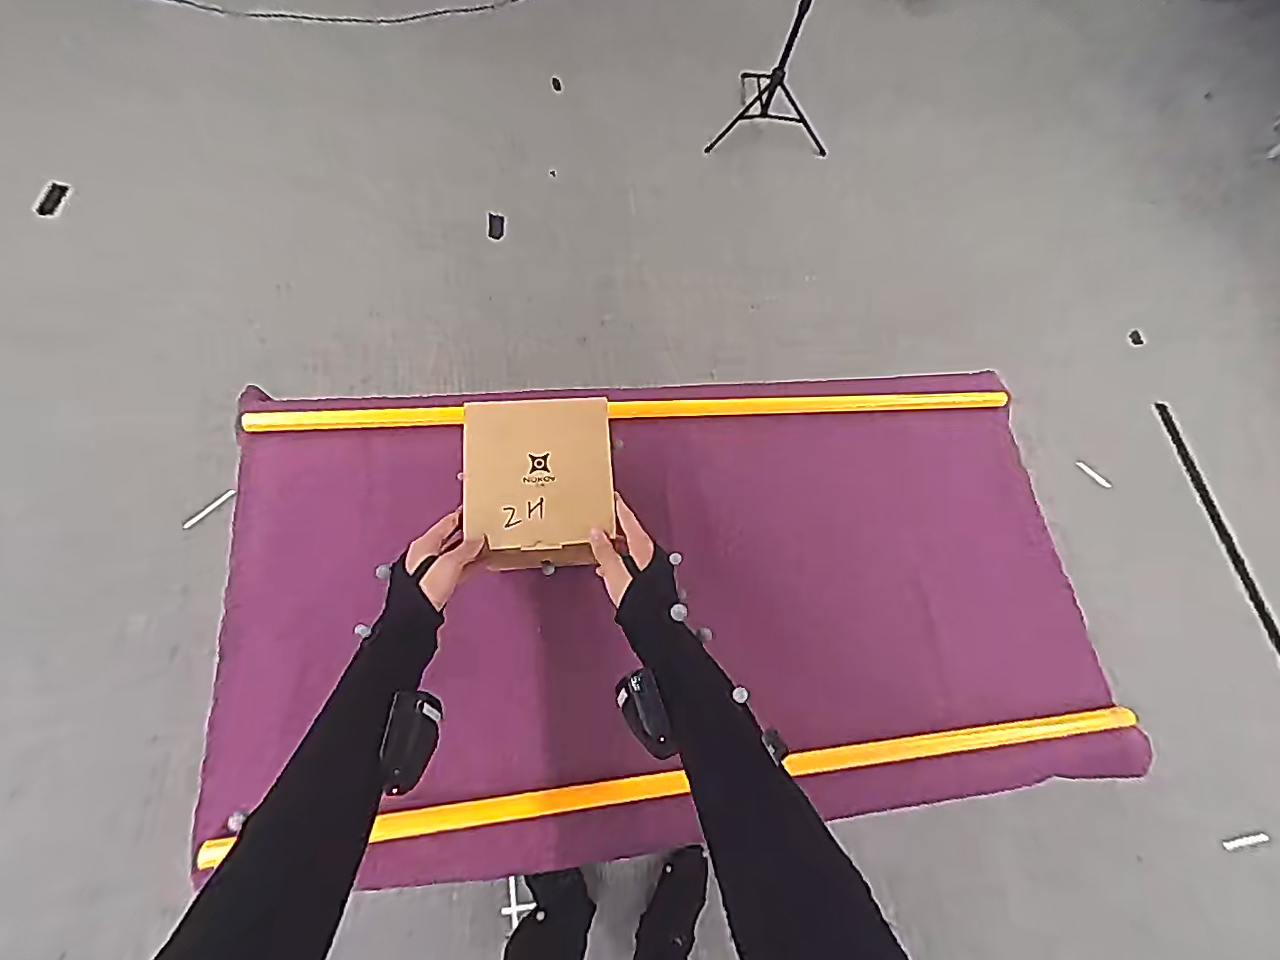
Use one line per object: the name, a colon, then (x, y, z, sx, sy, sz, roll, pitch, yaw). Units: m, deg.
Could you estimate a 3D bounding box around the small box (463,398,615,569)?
small box: (-0.121, 0.011, 0.684, 0.168, 0.176, 0.179, -3, 75, -6)
